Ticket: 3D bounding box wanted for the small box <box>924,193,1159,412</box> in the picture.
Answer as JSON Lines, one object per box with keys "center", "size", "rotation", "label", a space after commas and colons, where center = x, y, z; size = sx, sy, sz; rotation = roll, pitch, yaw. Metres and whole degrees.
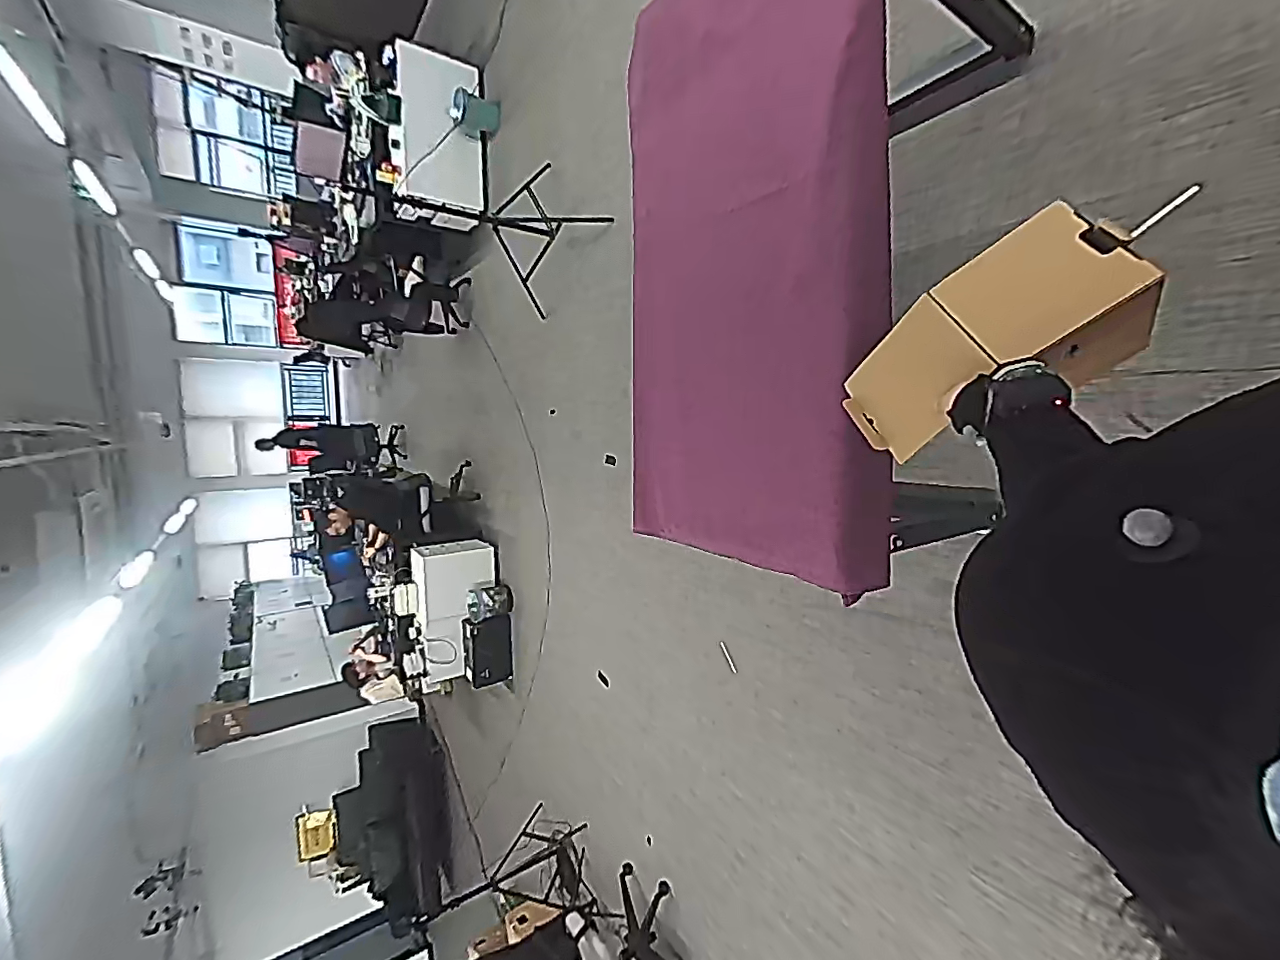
{"center": [0.515, -0.217, 0.708], "size": [0.179, 0.176, 0.168], "rotation": [-36, 55, 23], "label": "small box"}
